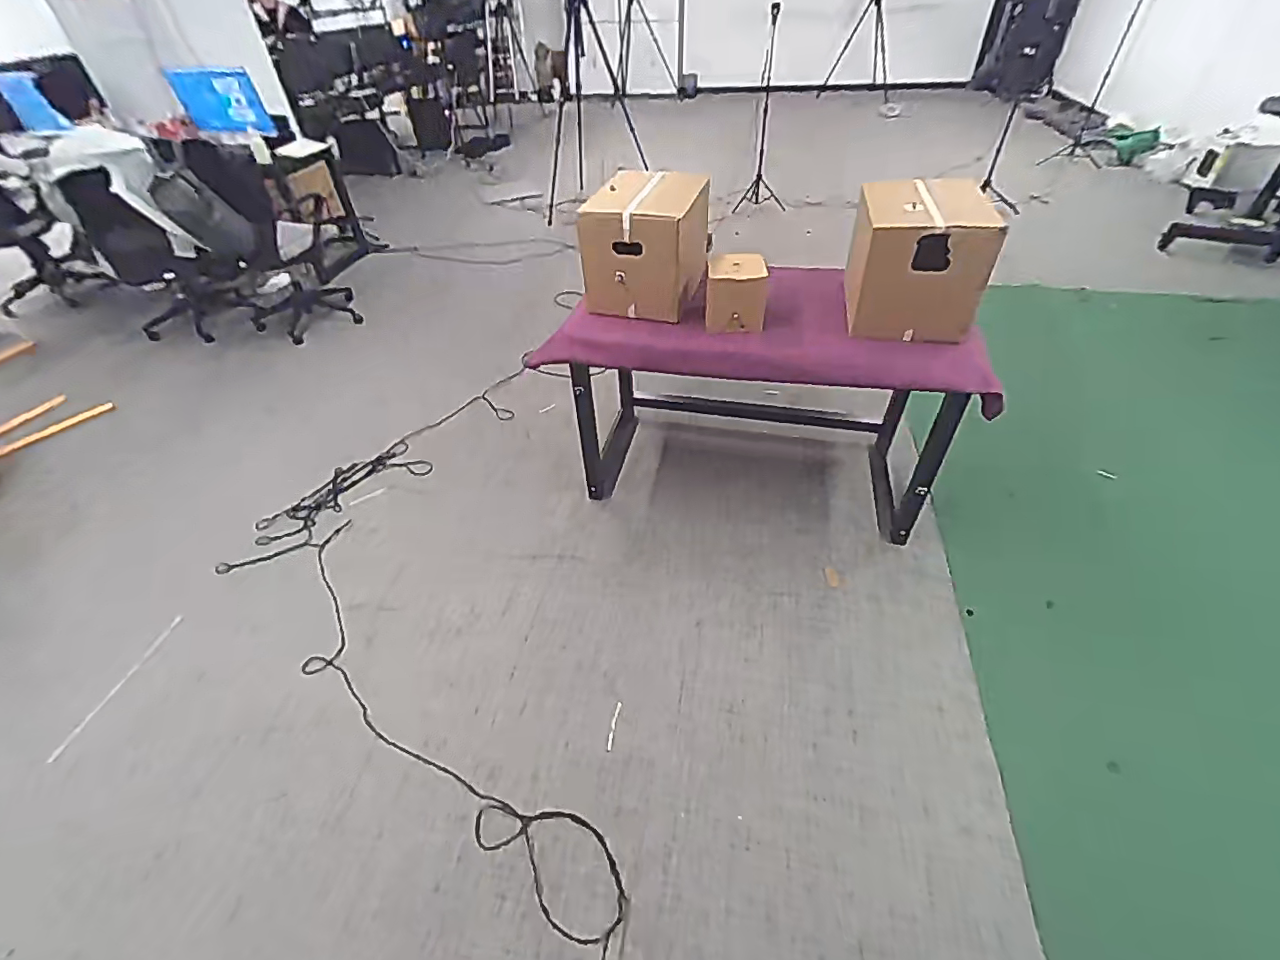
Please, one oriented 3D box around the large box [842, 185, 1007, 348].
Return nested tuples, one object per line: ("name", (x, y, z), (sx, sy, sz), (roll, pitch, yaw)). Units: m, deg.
("large box", (0.786, -0.625, 1.569), (0.320, 0.320, 0.408), (5, 44, 12))
